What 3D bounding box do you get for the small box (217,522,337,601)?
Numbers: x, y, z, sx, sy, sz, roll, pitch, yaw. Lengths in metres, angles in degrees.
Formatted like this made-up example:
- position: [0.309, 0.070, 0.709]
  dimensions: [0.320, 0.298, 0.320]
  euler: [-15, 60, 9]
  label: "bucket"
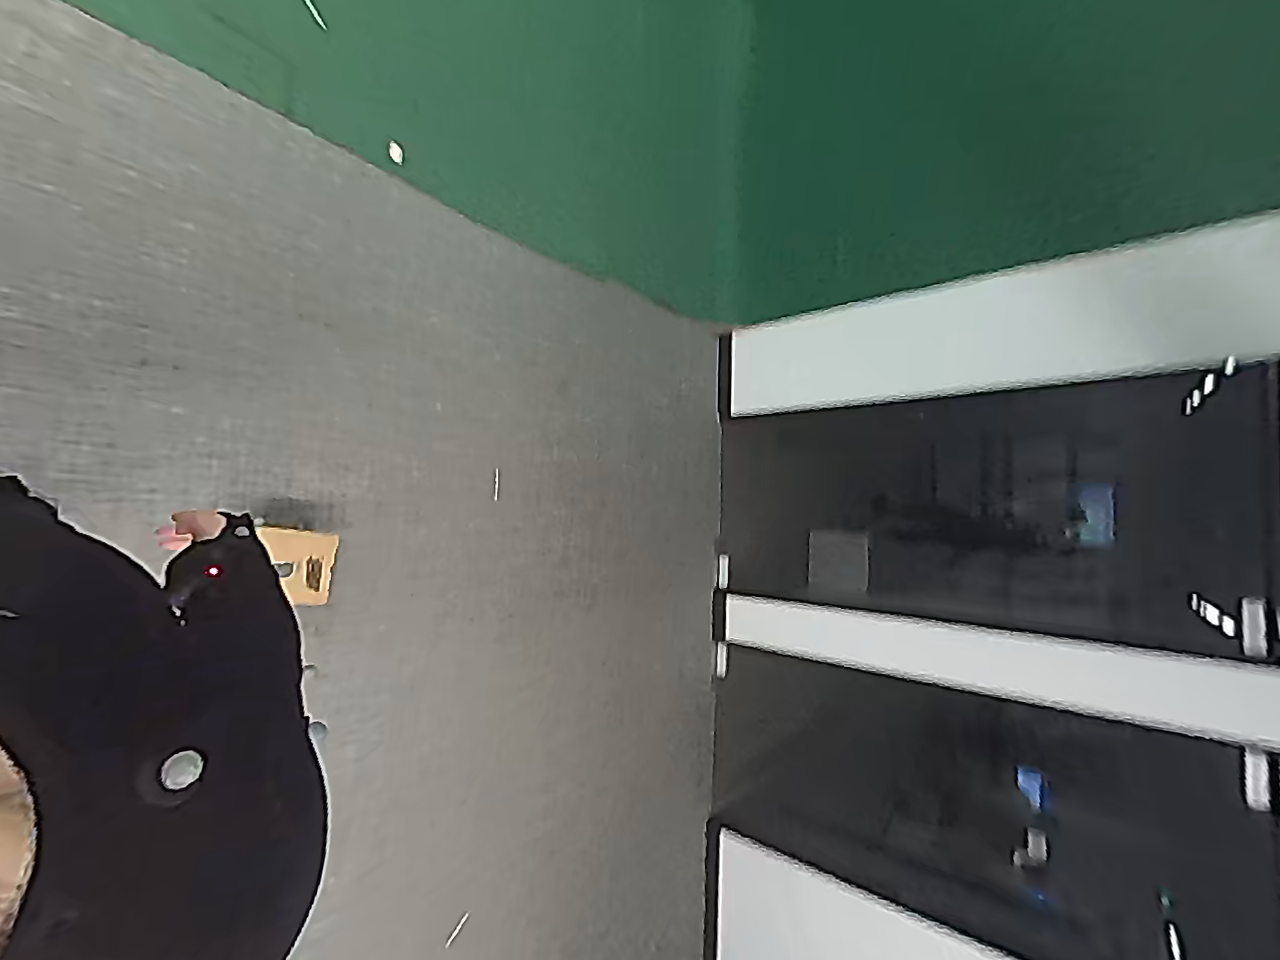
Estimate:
- position: [-0.859, 0.191, 1.280]
  dimensions: [0.179, 0.176, 0.168]
  euler: [17, 77, -49]
  label: "small box"
